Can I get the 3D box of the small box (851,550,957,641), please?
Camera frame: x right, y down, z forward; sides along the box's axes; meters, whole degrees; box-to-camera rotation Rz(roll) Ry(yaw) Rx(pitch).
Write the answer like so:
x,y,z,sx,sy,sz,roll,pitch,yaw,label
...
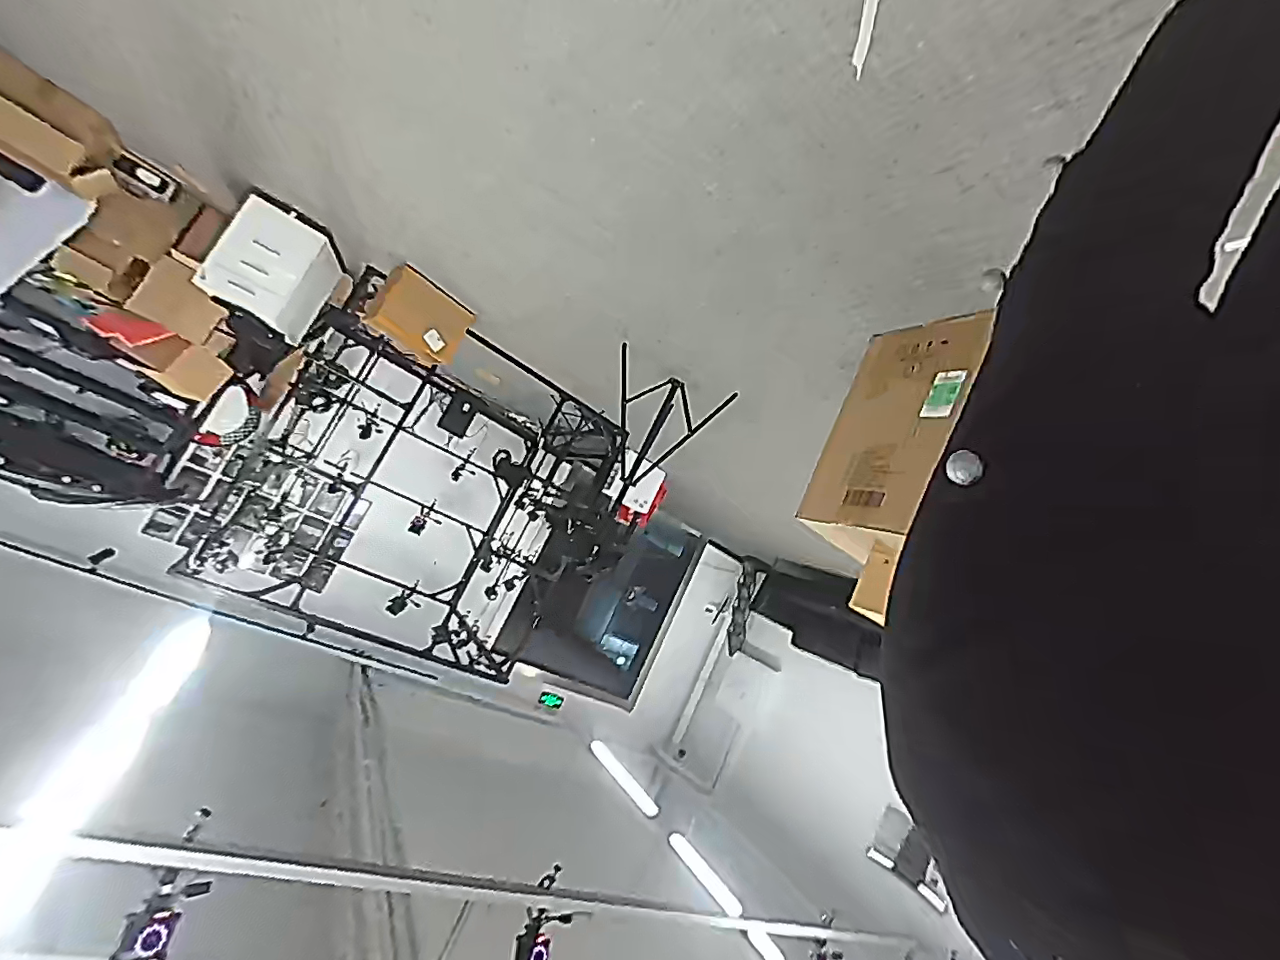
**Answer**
x,y,z,sx,sy,sz,roll,pitch,yaw,label
0.703,0.300,1.439,0.179,0.176,0.168,30,169,-27,small box
